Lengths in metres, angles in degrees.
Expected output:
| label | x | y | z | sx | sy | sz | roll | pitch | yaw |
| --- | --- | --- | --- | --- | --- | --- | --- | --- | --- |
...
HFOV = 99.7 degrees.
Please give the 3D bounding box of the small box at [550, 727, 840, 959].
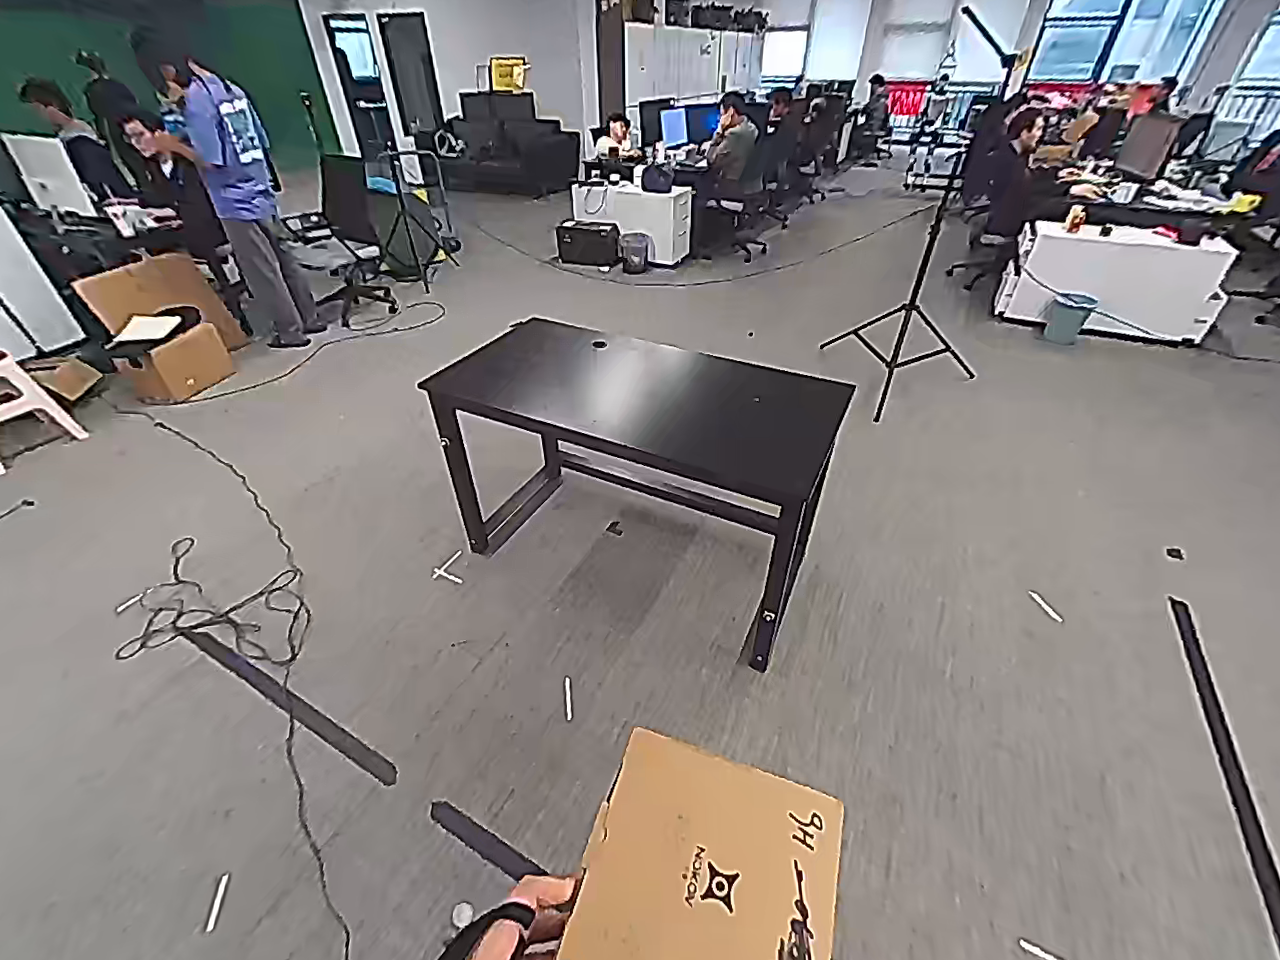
| label | x | y | z | sx | sy | sz | roll | pitch | yaw |
| --- | --- | --- | --- | --- | --- | --- | --- | --- | --- |
| small box | 0.049 | 0.339 | 0.447 | 0.179 | 0.176 | 0.168 | 14 | 50 | 14 |
